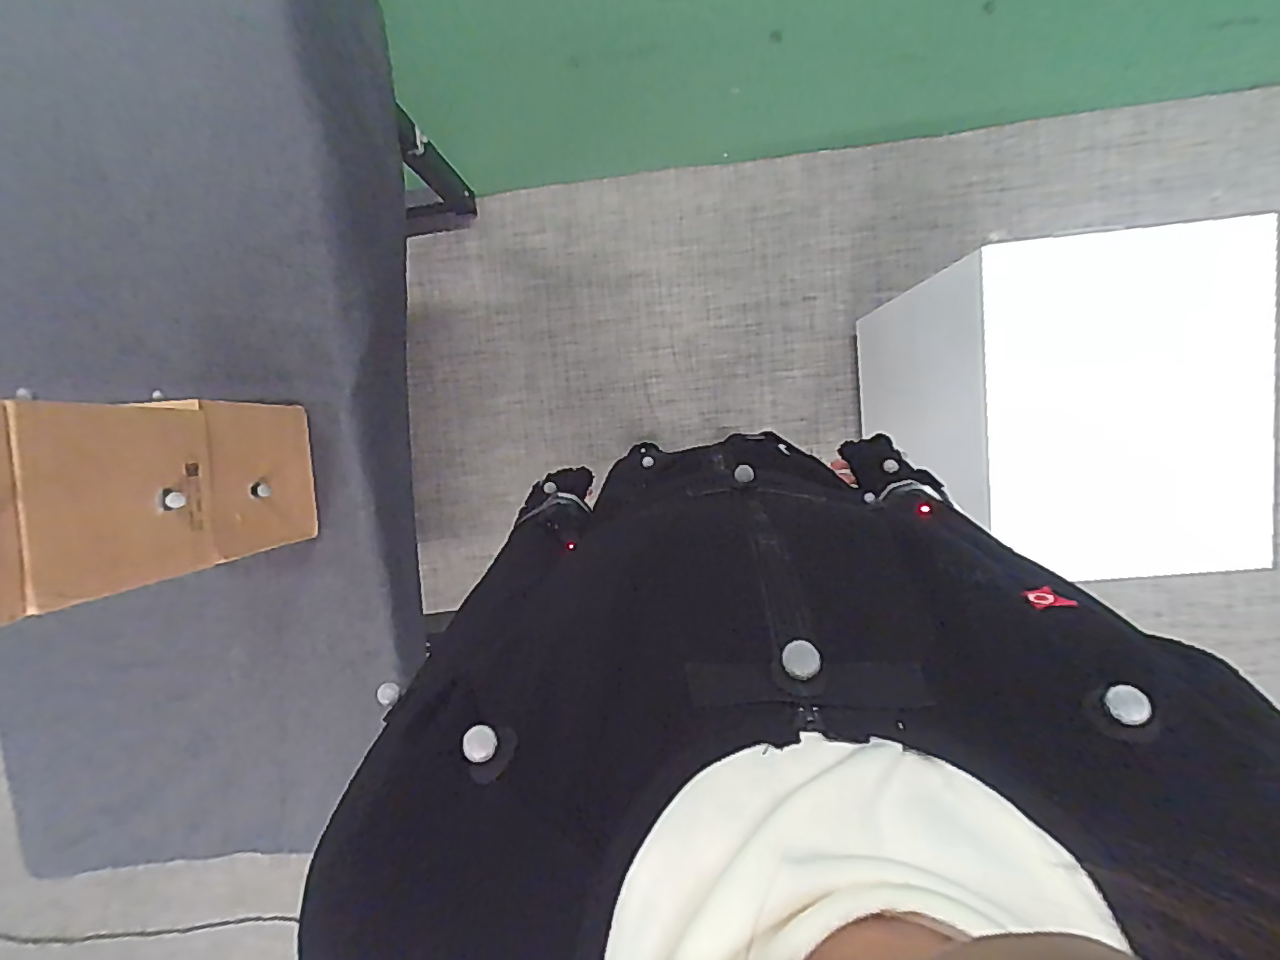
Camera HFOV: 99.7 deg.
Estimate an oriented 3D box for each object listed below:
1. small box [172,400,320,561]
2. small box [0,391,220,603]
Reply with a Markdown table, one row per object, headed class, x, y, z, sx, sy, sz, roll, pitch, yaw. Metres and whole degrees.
| class | x | y | z | sx | sy | sz | roll | pitch | yaw |
| --- | --- | --- | --- | --- | --- | --- | --- | --- | --- |
| small box | -0.525 | -0.005 | 0.663 | 0.168 | 0.176 | 0.179 | -3 | 96 | 5 |
| small box | -0.544 | 0.010 | 0.500 | 0.179 | 0.176 | 0.168 | -3 | 95 | 7 |
